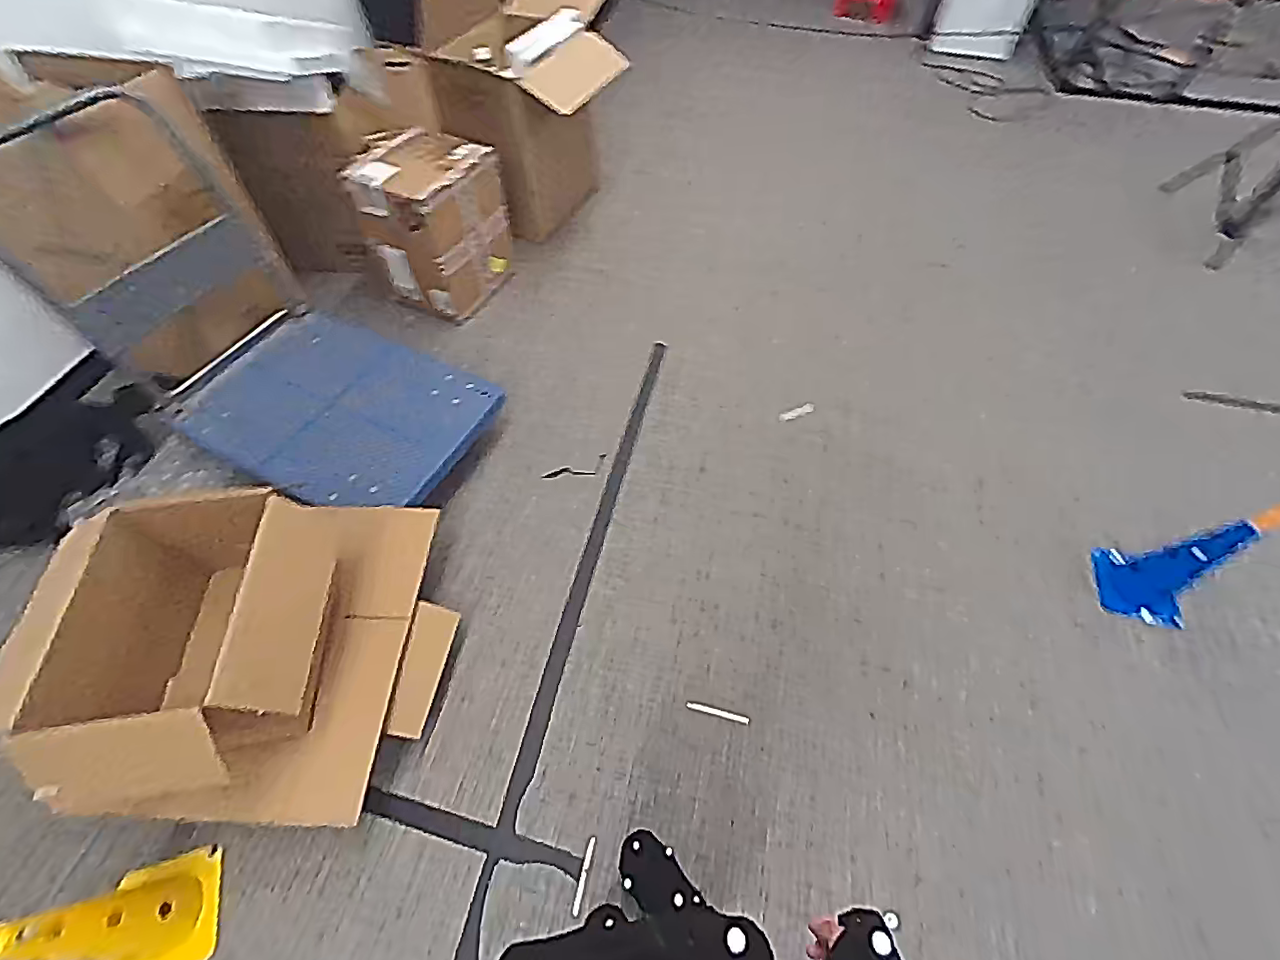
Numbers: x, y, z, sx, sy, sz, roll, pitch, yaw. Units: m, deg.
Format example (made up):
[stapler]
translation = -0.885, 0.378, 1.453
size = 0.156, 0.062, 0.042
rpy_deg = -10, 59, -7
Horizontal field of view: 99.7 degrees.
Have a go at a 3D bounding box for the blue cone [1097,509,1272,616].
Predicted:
[blue cone]
translation = 1.366, 0.179, 1.349
size = 0.192, 0.380, 0.193
rpy_deg = 15, 58, 9
